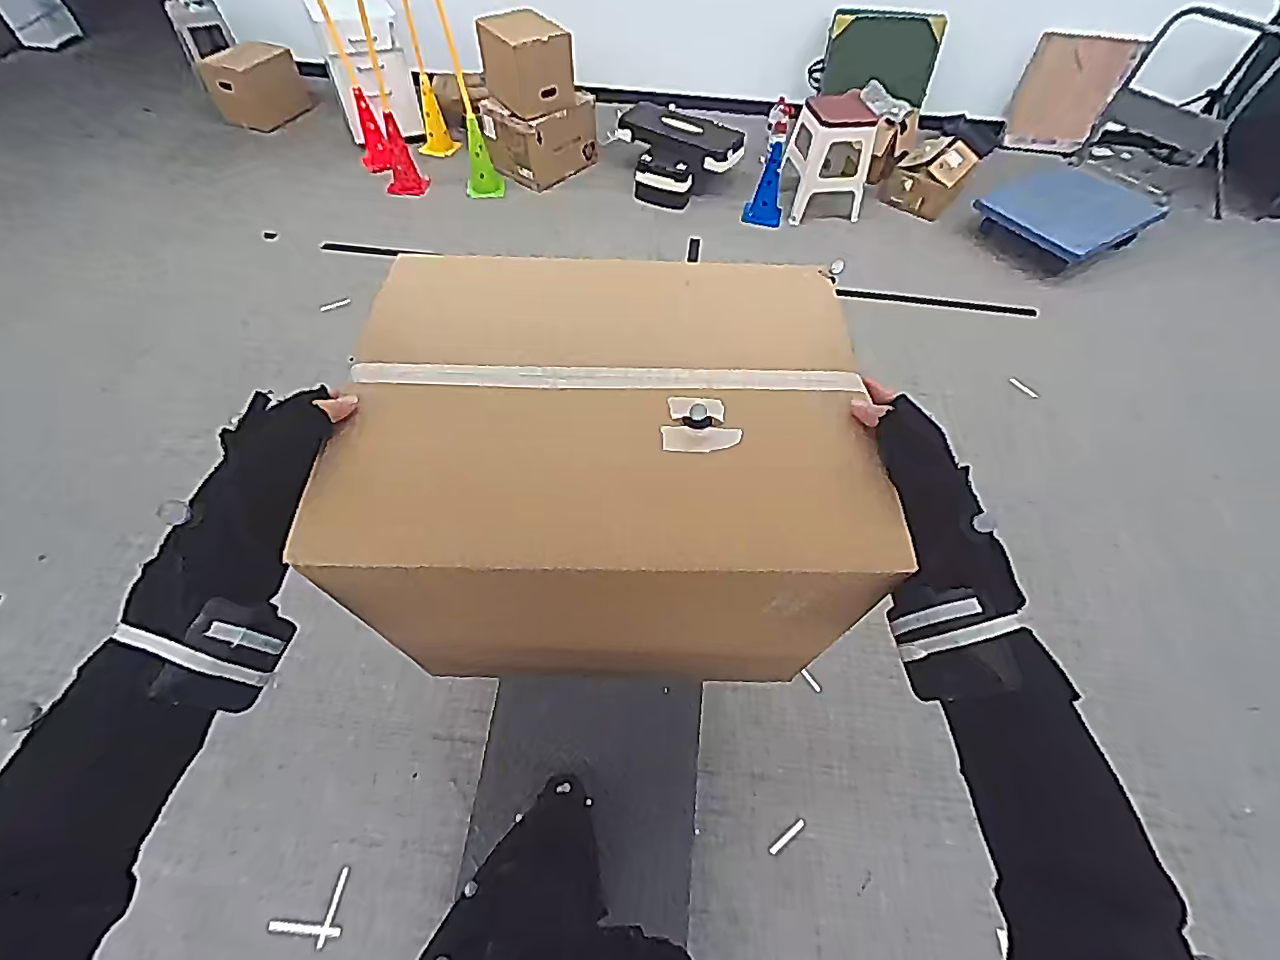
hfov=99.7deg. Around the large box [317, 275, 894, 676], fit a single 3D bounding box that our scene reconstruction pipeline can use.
[{"bbox_3d":[-0.028,0.012,0.572,0.408,0.320,0.320,2,57,-2],"label":"large box"}]
